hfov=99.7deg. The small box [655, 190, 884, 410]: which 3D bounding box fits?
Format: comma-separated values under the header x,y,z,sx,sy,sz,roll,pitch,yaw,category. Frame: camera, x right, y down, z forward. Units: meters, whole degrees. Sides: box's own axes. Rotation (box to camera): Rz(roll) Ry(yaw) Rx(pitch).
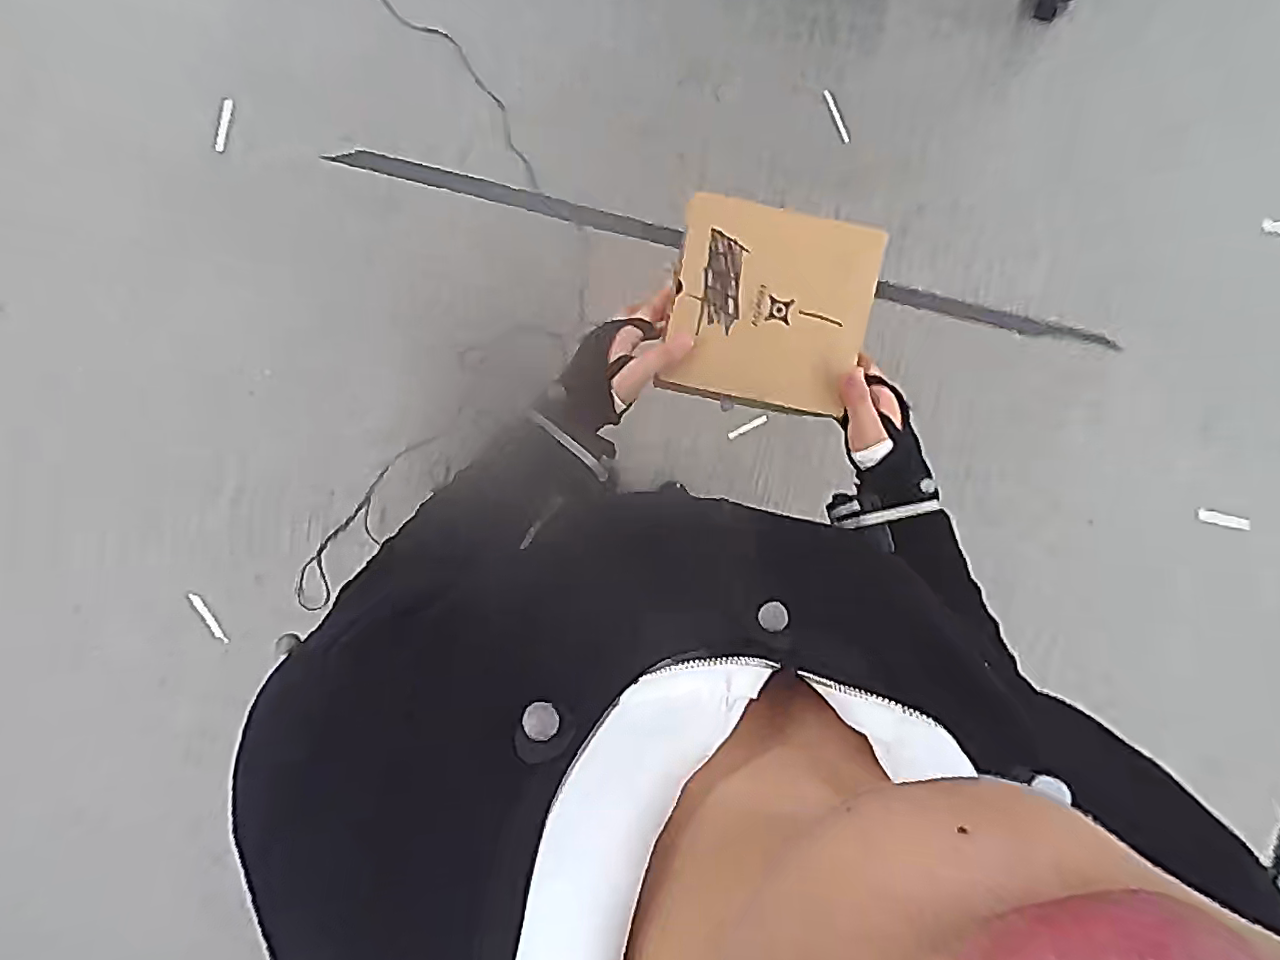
x,y,z,sx,sy,sz,roll,pitch,yaw,category
0.115,-0.169,0.563,0.179,0.176,0.168,12,98,-1,small box
